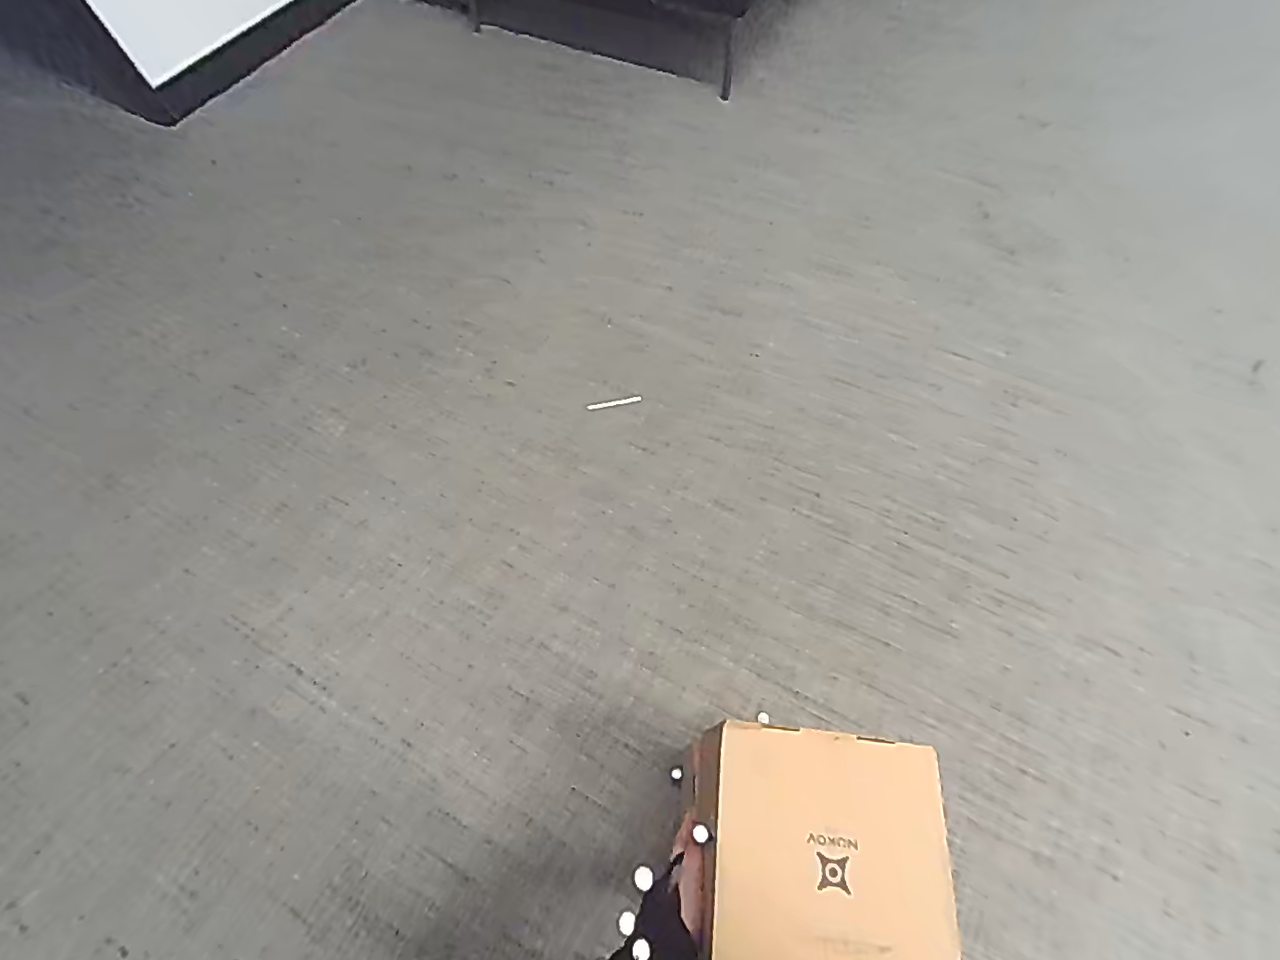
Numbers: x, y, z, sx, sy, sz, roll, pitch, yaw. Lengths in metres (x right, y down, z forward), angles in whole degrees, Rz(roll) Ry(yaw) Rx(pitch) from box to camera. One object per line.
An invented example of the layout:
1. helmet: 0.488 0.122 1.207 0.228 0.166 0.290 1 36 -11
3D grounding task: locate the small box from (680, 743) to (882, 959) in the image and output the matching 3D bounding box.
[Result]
1. small box: 0.137 0.392 0.592 0.179 0.176 0.168 4 61 2
